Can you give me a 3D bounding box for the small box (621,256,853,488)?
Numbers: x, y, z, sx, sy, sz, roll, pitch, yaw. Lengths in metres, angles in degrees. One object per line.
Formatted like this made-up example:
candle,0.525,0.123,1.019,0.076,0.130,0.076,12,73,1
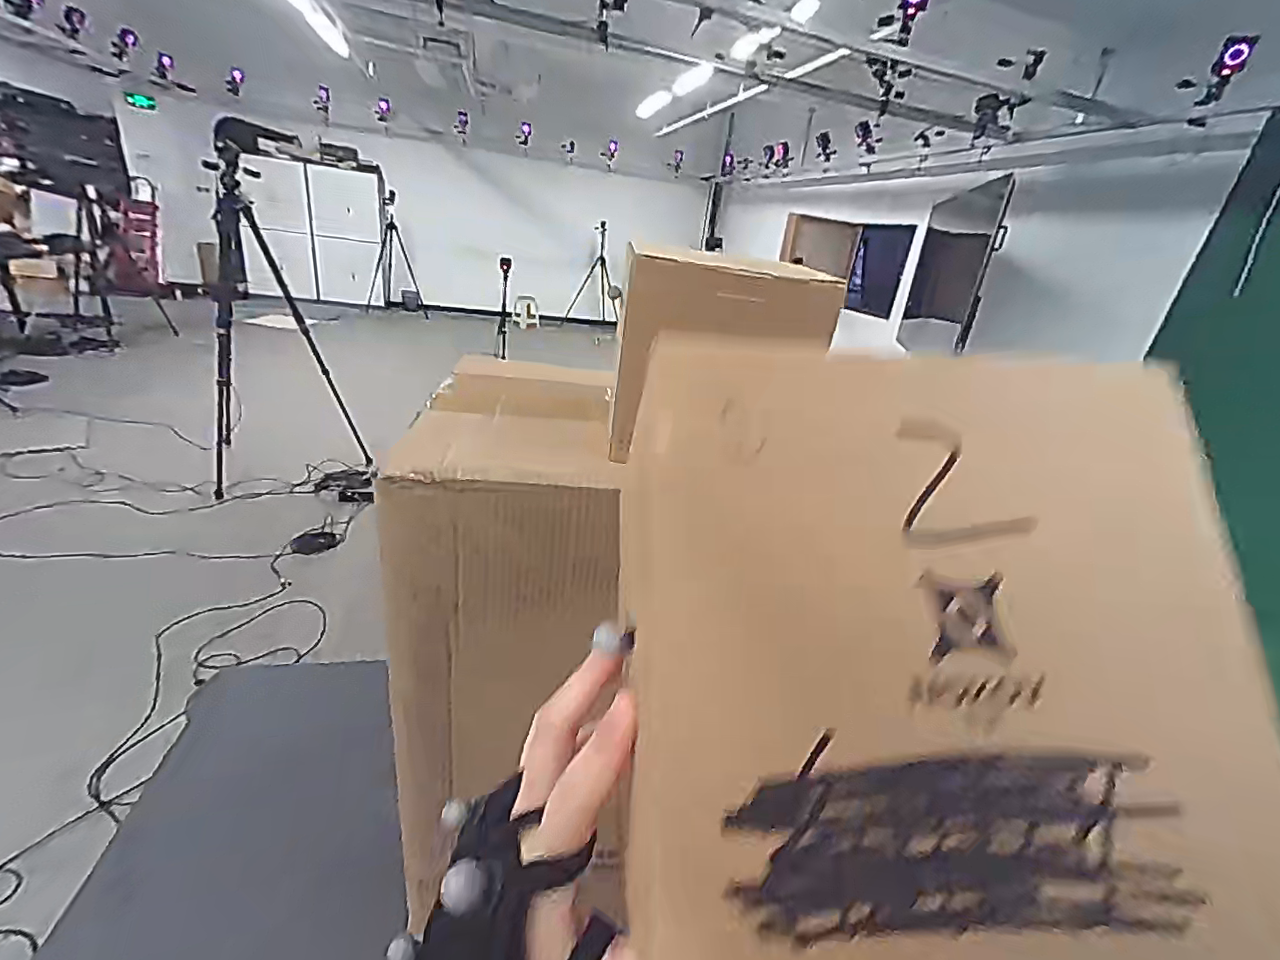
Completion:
small box,0.072,-0.110,0.524,0.168,0.176,0.179,6,25,-6
